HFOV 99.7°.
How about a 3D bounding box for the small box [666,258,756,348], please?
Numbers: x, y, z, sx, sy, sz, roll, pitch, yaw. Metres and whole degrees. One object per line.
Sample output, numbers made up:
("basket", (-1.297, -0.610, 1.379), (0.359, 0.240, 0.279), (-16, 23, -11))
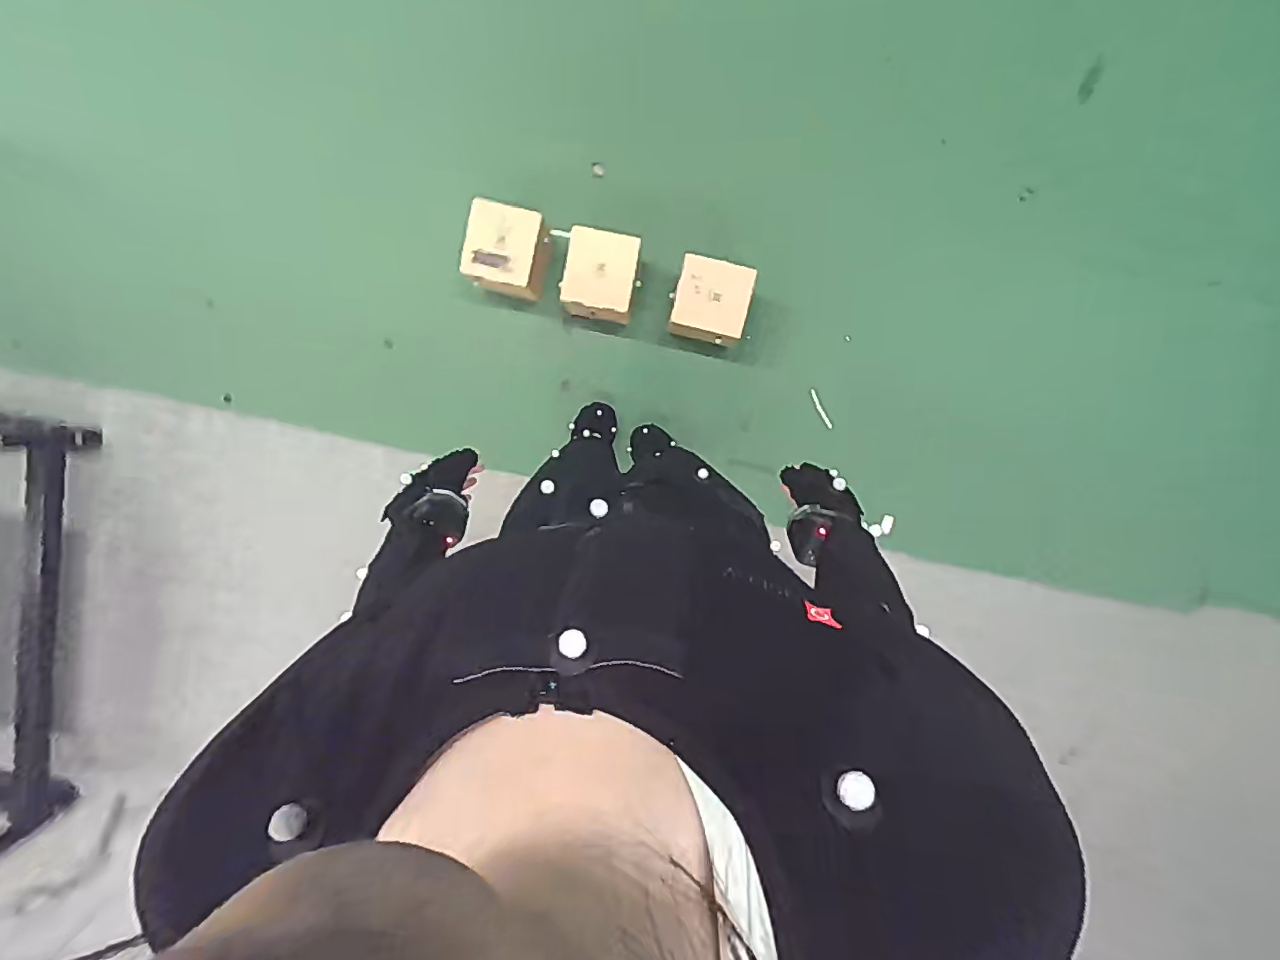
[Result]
("small box", (0.171, -0.438, 1.367), (0.179, 0.176, 0.168), (14, 97, -2))

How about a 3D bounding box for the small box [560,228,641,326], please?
("small box", (-0.096, -0.504, 1.363), (0.168, 0.176, 0.179), (12, 98, -1))
